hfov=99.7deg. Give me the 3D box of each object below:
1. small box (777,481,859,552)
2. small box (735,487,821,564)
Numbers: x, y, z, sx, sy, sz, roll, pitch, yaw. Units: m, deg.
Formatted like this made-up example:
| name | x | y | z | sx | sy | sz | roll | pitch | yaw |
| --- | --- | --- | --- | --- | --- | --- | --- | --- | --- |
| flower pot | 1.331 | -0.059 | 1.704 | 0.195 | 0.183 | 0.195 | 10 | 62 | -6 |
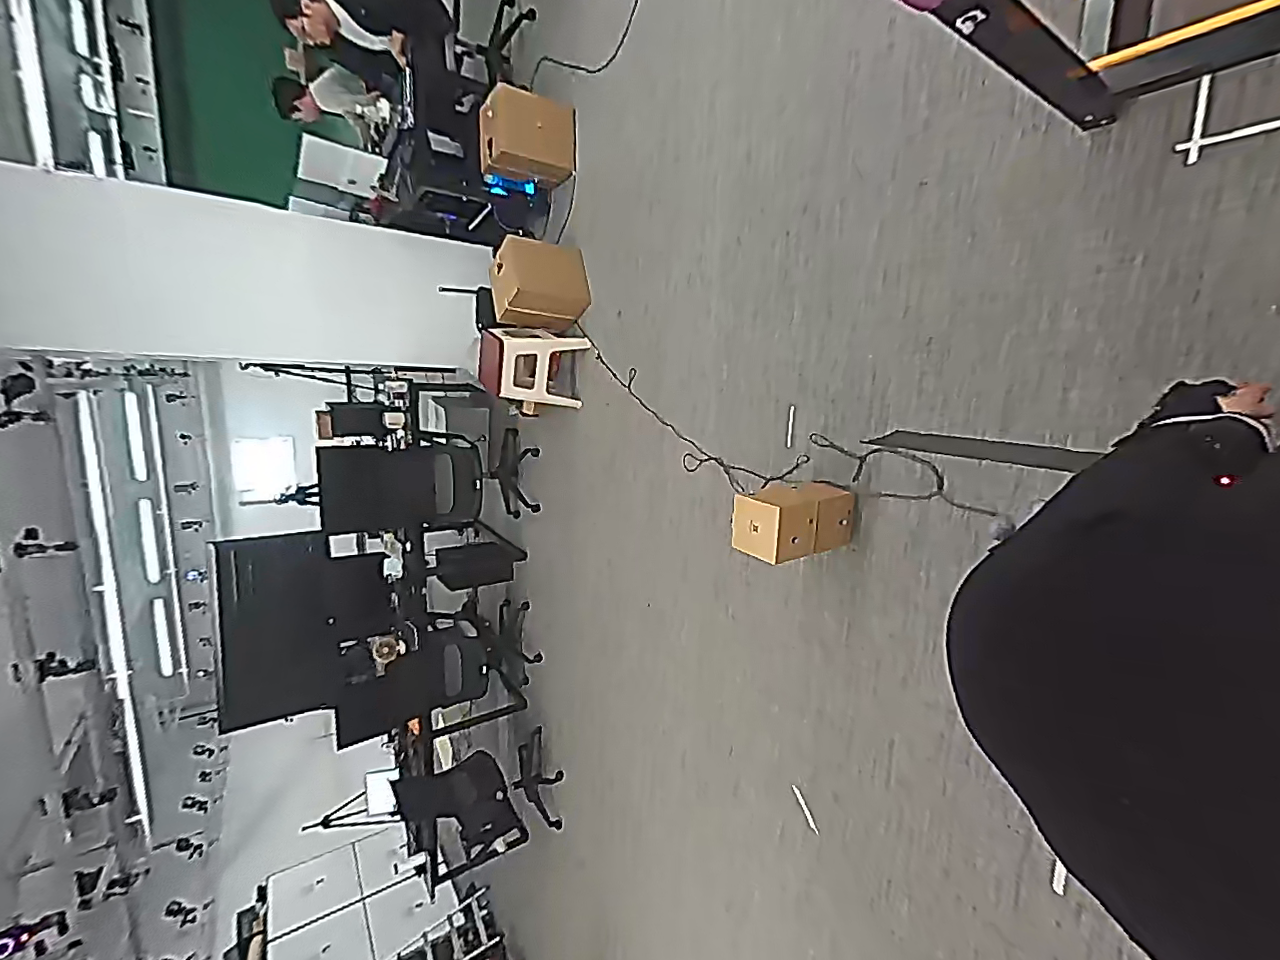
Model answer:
| name | x | y | z | sx | sy | sz | roll | pitch | yaw |
| --- | --- | --- | --- | --- | --- | --- | --- | --- | --- |
| small box | 0.529 | 0.102 | 1.633 | 0.179 | 0.176 | 0.168 | 19 | 113 | 53 |
| small box | 0.394 | 0.122 | 1.545 | 0.179 | 0.176 | 0.168 | 19 | 113 | 55 |
